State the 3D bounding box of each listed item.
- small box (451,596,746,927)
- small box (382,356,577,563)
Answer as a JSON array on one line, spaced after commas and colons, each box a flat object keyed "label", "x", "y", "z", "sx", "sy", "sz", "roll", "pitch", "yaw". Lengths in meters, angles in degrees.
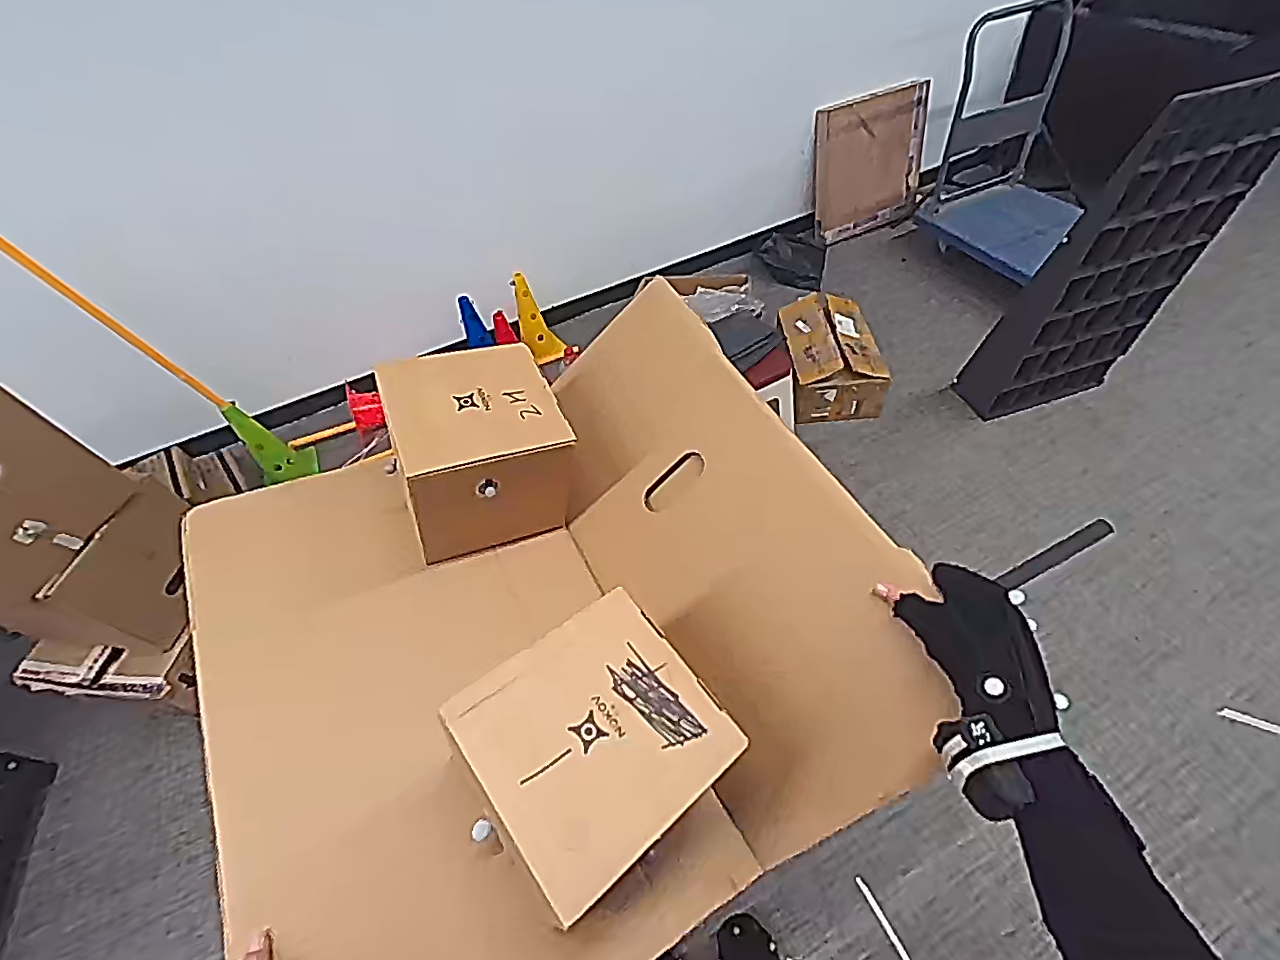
[{"label": "small box", "x": -0.044, "y": 0.240, "z": 0.475, "sx": 0.179, "sy": 0.176, "sz": 0.168, "roll": -29, "pitch": 63, "yaw": -30}, {"label": "small box", "x": -0.190, "y": -0.023, "z": 0.650, "sx": 0.179, "sy": 0.176, "sz": 0.168, "roll": -14, "pitch": 57, "yaw": -24}]
